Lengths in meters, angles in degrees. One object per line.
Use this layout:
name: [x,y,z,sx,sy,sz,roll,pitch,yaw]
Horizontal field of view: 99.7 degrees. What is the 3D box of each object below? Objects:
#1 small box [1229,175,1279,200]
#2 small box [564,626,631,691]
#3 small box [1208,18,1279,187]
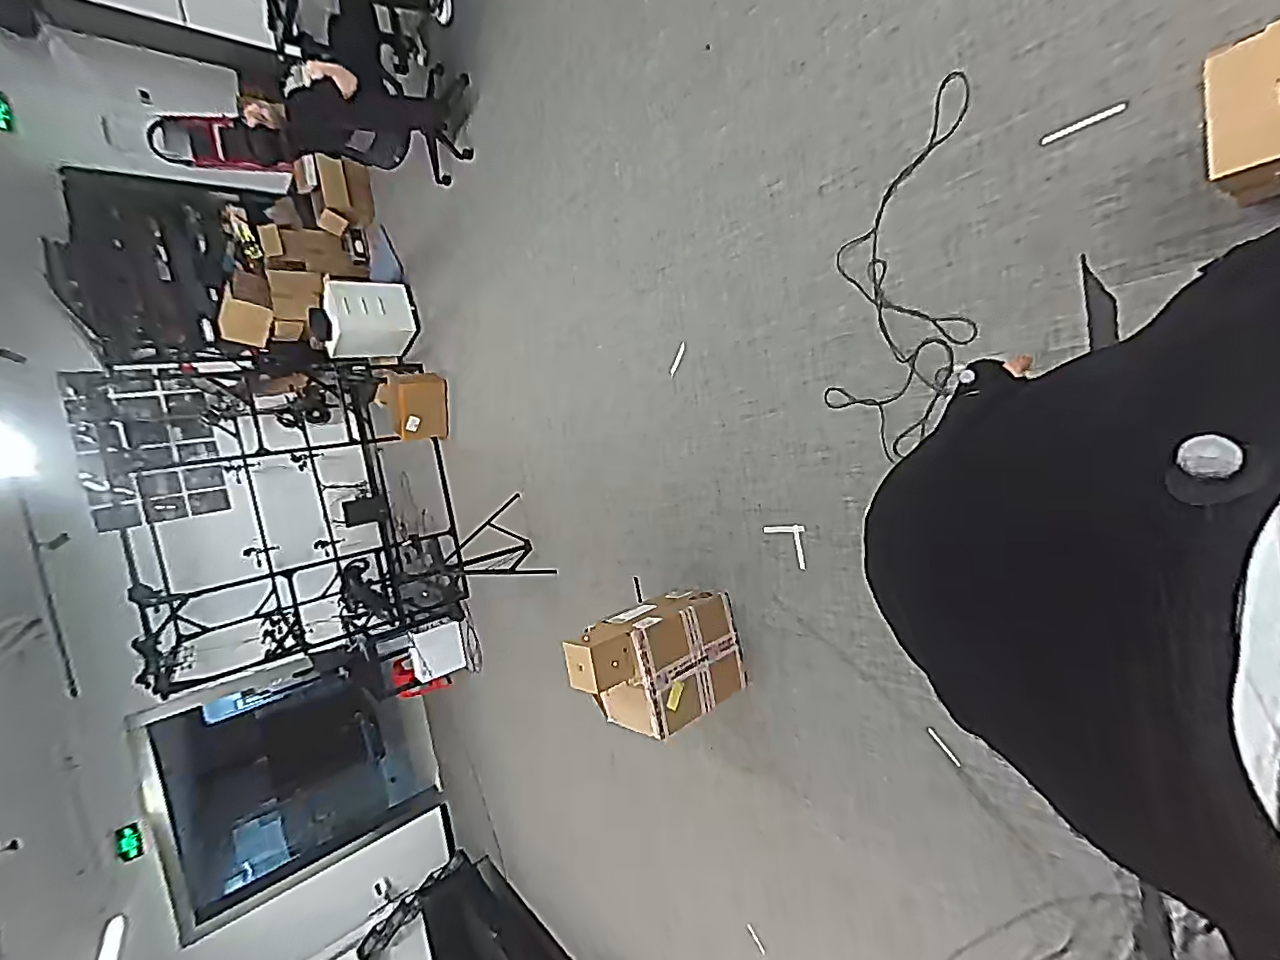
small box: [1.066,-0.571,0.858,0.179,0.176,0.168,-6,96,54]
small box: [-0.146,0.635,1.941,0.179,0.176,0.168,-10,90,50]
small box: [0.935,-0.545,0.765,0.168,0.176,0.179,-2,100,54]
